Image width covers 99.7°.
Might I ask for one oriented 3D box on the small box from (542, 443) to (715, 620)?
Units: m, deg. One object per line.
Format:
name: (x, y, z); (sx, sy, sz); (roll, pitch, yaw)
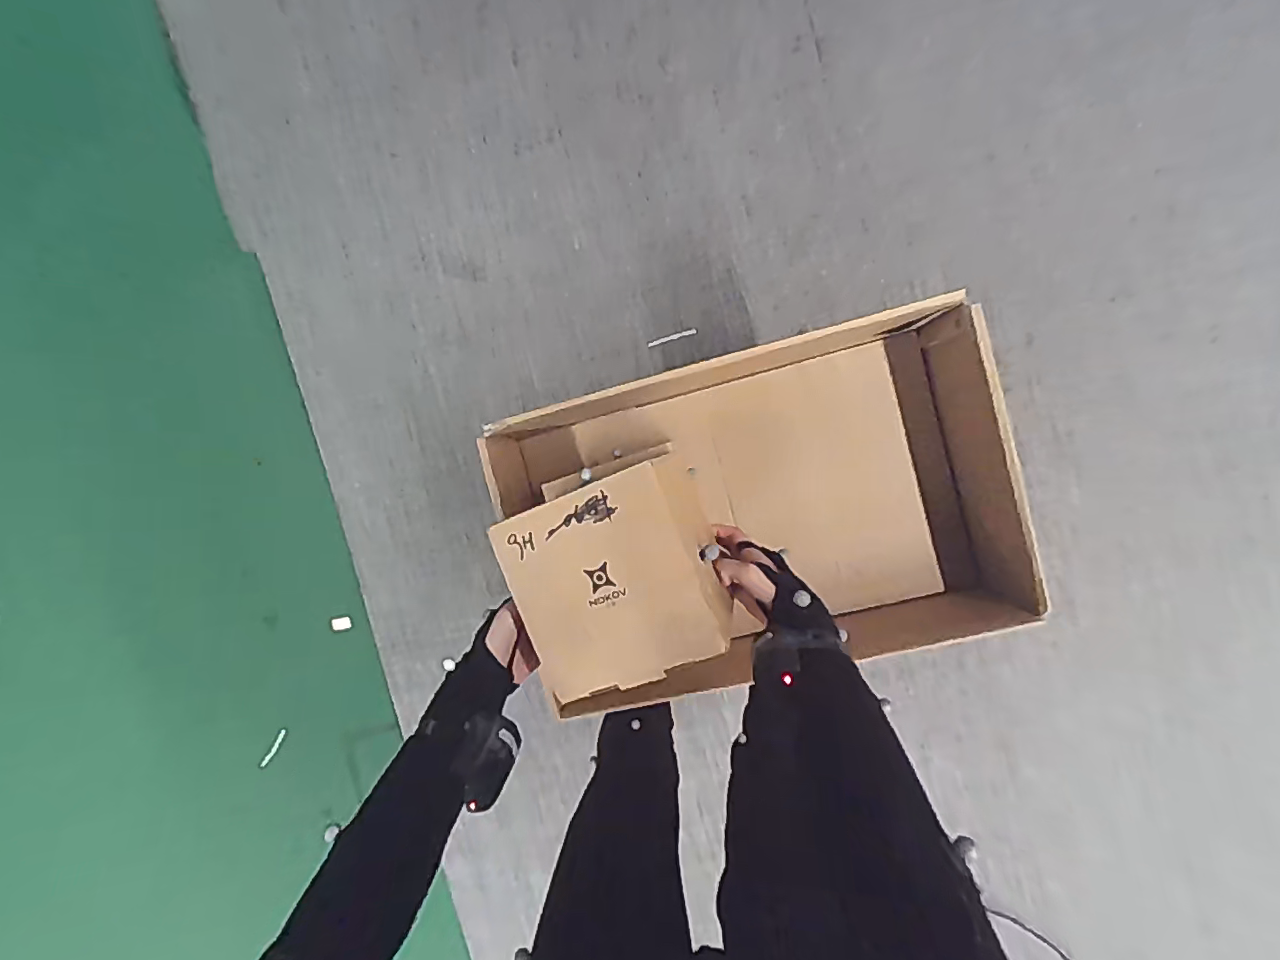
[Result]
small box: (-0.007, 0.058, 0.712); (0.168, 0.176, 0.179); (-18, 92, 8)
